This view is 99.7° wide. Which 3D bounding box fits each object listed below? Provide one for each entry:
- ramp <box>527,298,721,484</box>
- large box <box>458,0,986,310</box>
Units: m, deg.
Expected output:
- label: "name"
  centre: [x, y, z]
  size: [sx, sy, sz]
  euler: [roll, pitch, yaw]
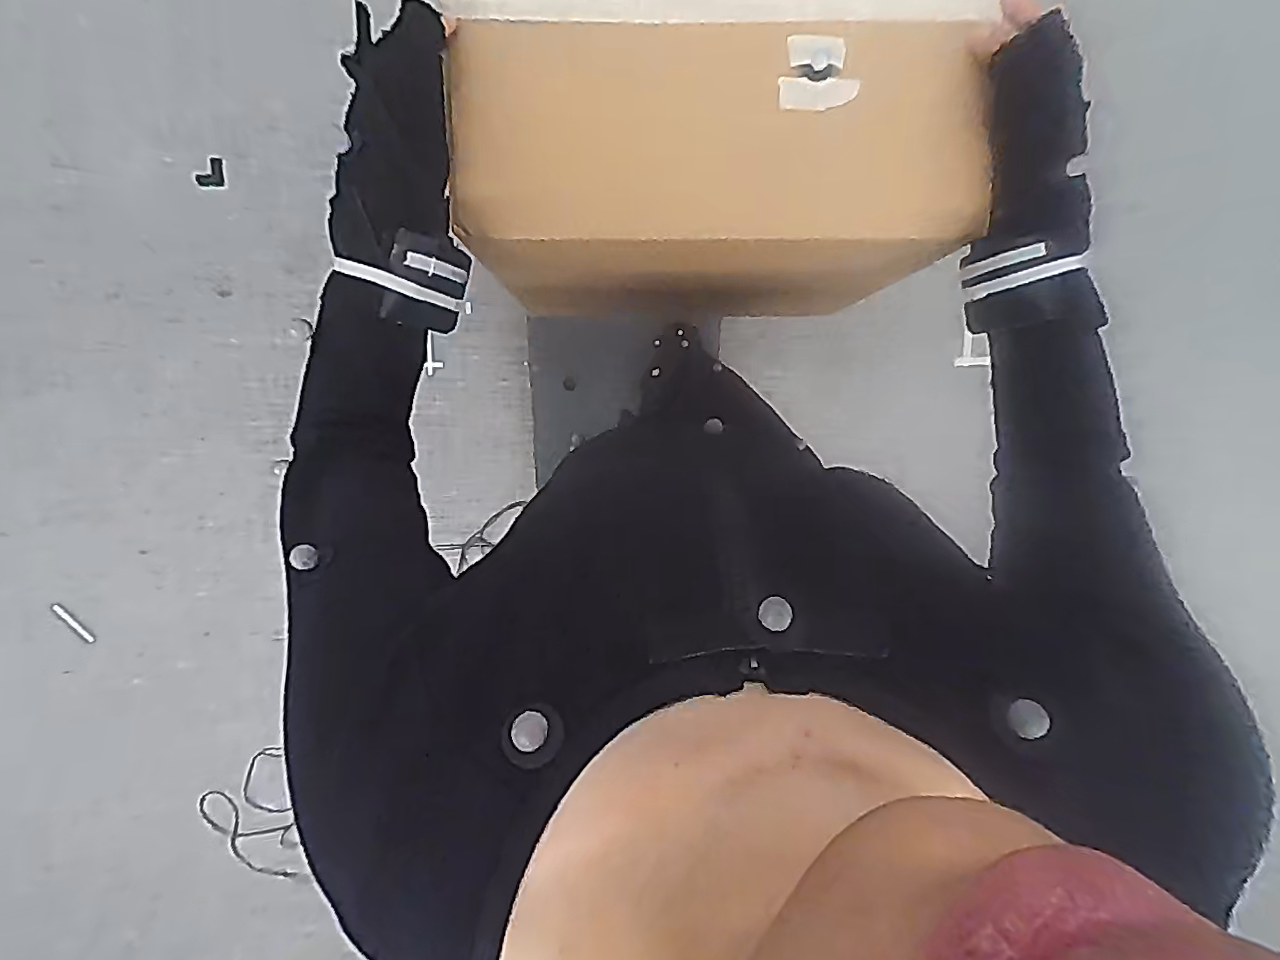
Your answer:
- label: "ramp"
  centre: [-0.036, -0.466, 1.354]
  size: [0.509, 0.206, 0.991]
  euler: [-3, 99, -3]
- label: "large box"
  centre: [0.056, -0.366, 0.550]
  size: [0.408, 0.320, 0.320]
  euler: [-1, 97, -2]
